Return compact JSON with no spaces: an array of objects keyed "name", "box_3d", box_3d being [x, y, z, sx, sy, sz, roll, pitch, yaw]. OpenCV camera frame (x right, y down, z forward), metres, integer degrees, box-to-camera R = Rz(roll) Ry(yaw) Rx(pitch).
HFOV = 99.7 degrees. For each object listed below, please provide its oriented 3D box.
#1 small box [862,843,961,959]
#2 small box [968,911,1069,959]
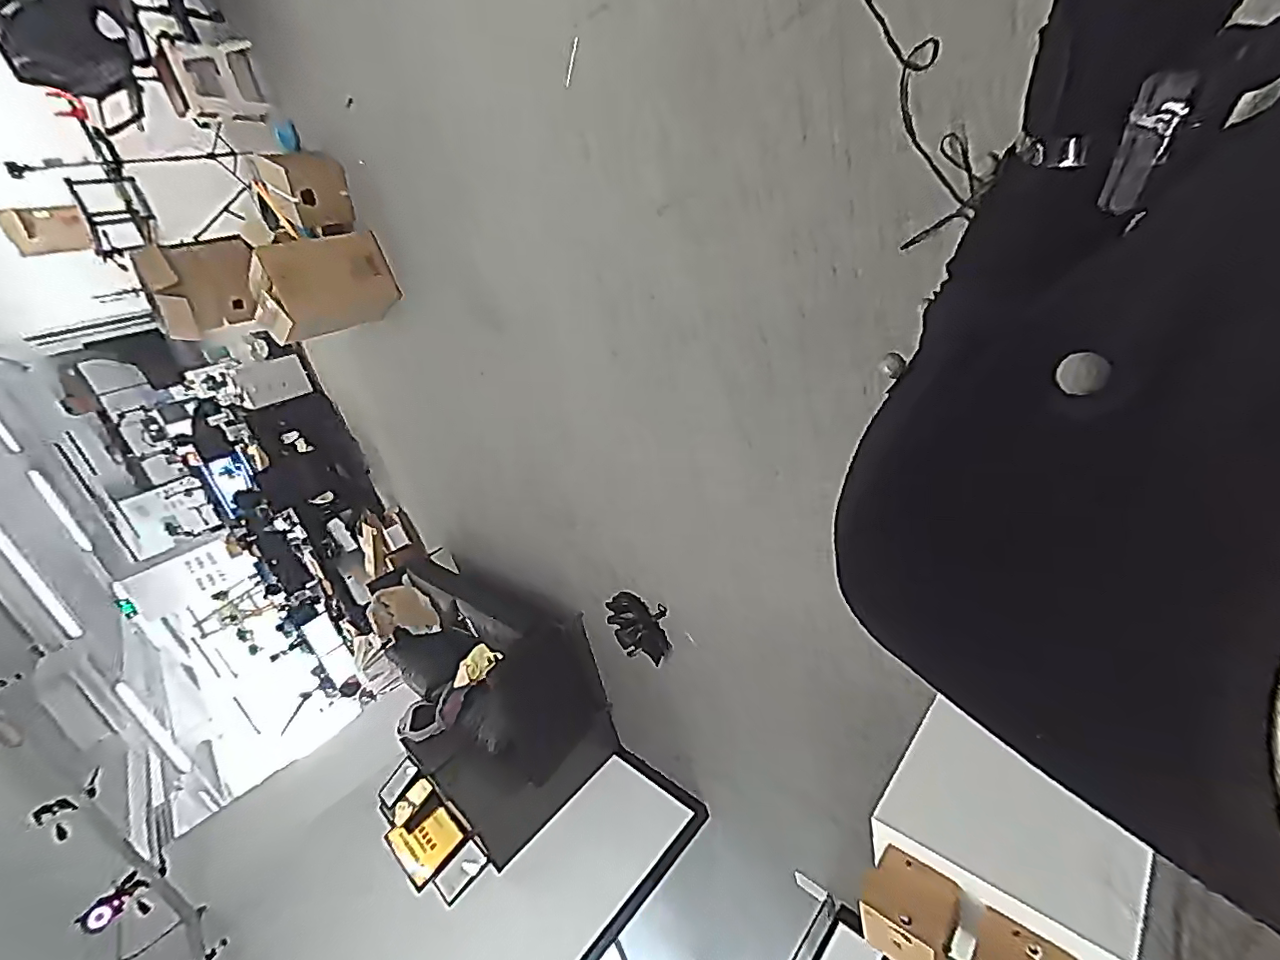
[{"name":"small box","box_3d":[0.654,1.035,1.298,0.168,0.176,0.179,11,124,45]},{"name":"small box","box_3d":[0.799,1.080,1.138,0.168,0.176,0.179,8,120,46]}]
